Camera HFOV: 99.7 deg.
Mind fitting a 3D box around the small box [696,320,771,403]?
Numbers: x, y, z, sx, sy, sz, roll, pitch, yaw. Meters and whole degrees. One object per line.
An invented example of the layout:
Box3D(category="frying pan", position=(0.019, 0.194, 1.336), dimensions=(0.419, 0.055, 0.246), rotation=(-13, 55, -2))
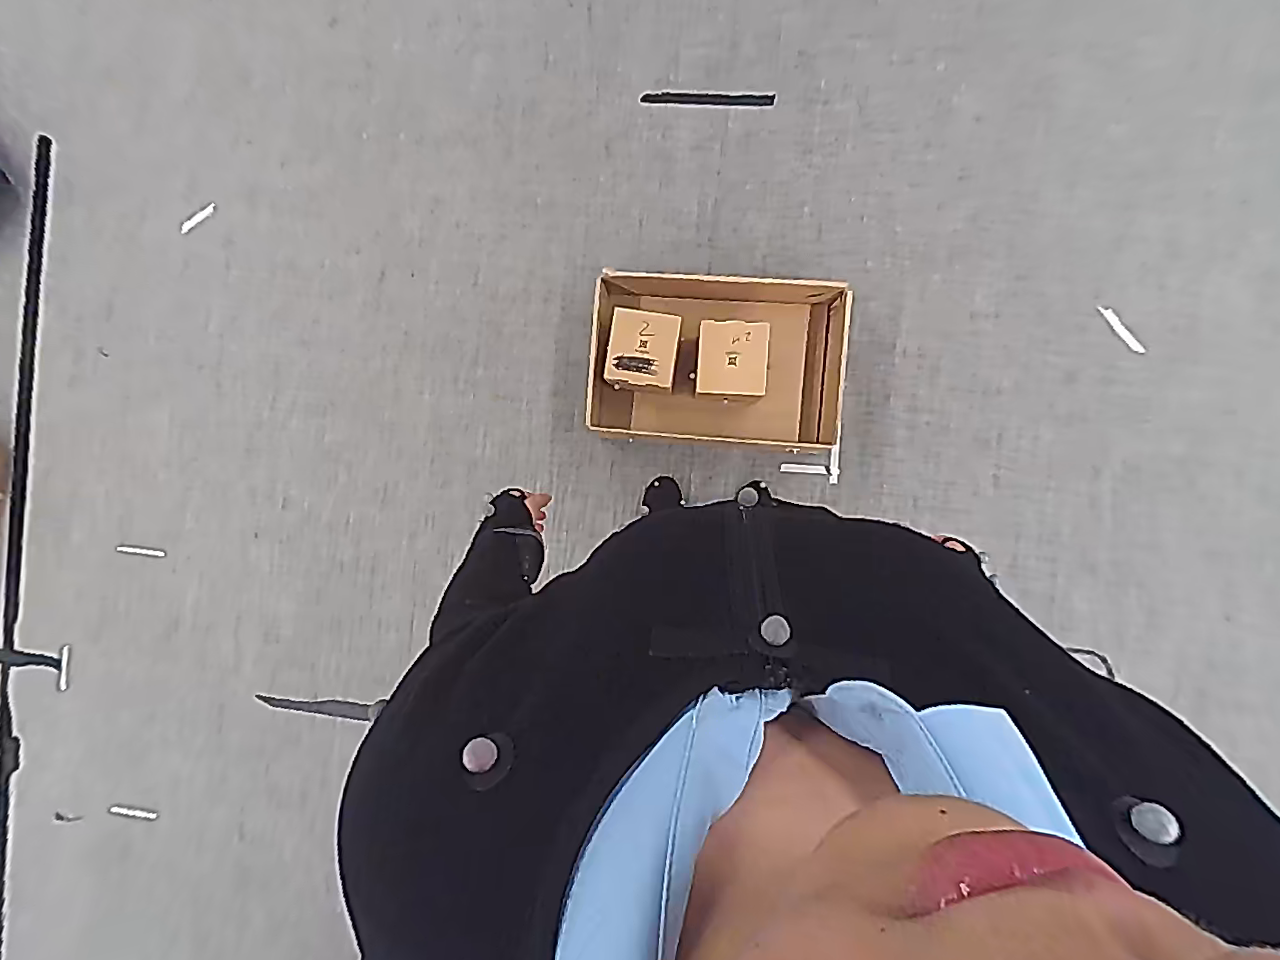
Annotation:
Box3D(category="small box", position=(0.230, -0.292, 1.363), dimensions=(0.168, 0.176, 0.179), rotation=(4, 92, 4))
